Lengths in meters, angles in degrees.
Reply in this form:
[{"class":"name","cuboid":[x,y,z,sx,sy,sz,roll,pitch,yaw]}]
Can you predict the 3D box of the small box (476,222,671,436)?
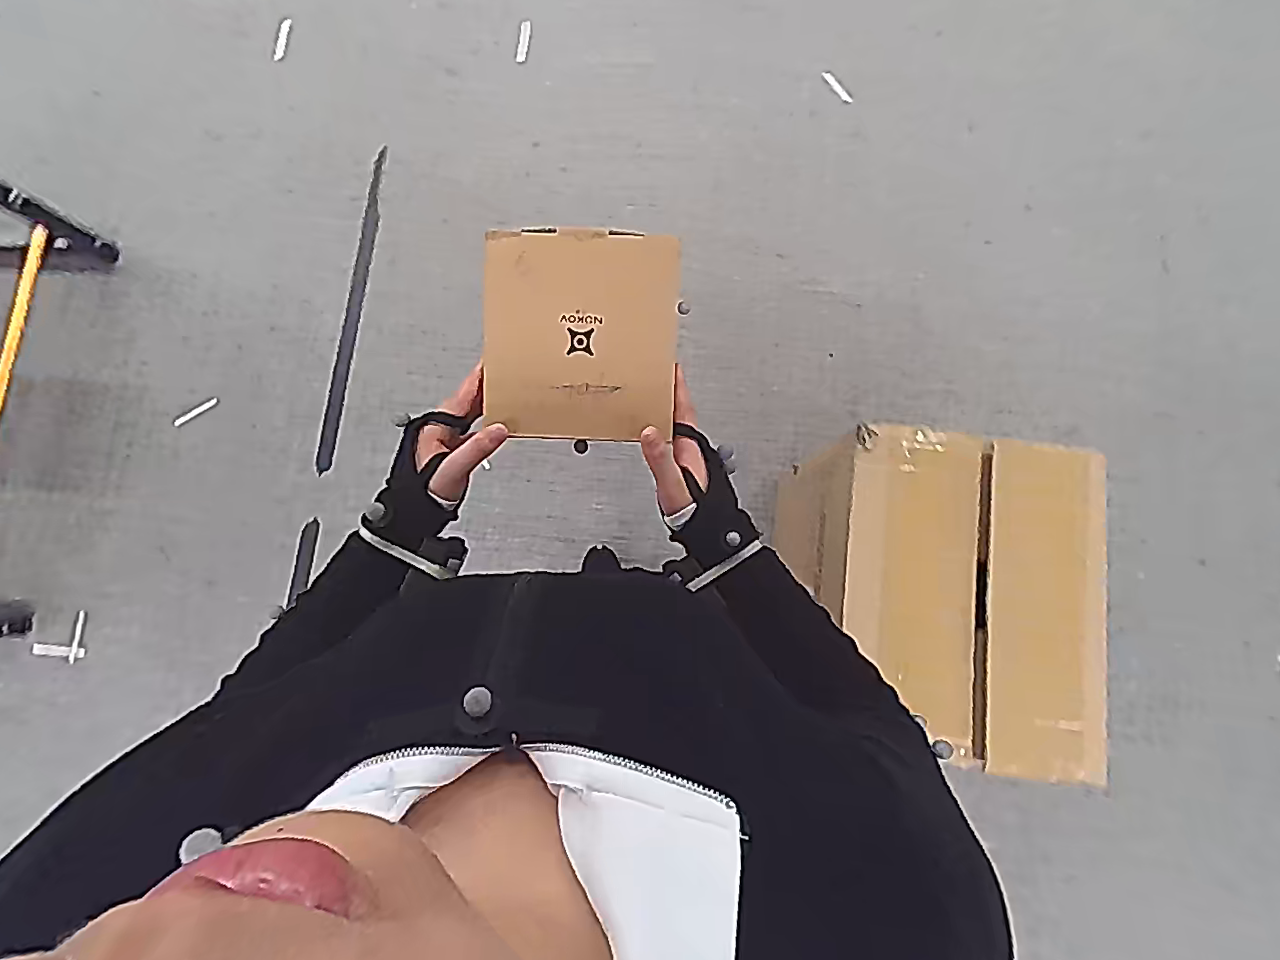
[{"class":"small box","cuboid":[-0.058,-0.135,0.541,0.168,0.176,0.179,1,95,1]}]
